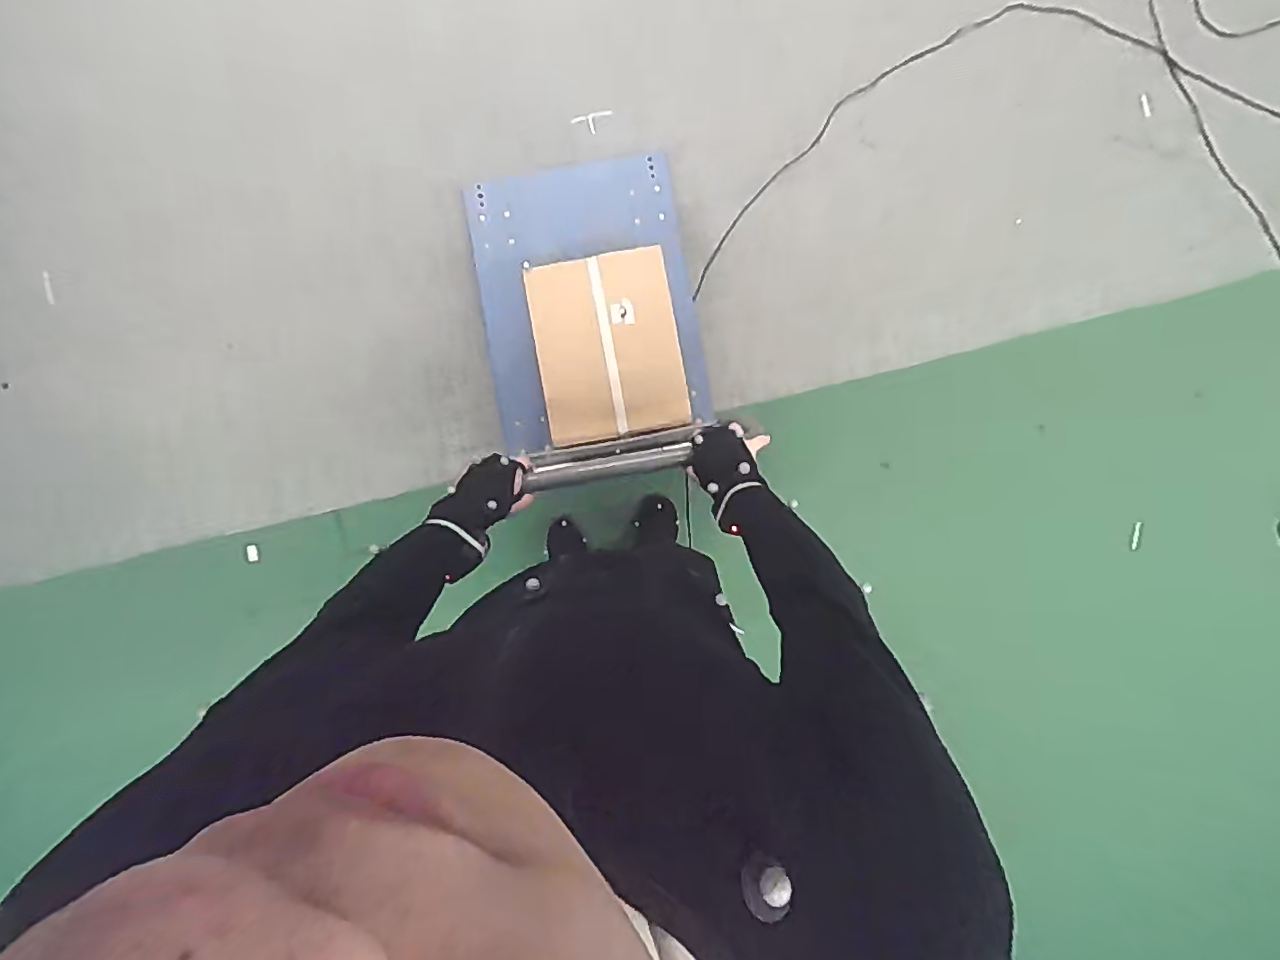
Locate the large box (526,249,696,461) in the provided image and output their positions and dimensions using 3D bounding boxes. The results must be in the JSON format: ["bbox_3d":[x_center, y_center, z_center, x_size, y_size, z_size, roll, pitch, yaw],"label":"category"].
[{"bbox_3d":[-0.064,-0.279,1.323,0.320,0.320,0.408,-10,88,-2],"label":"large box"}]
